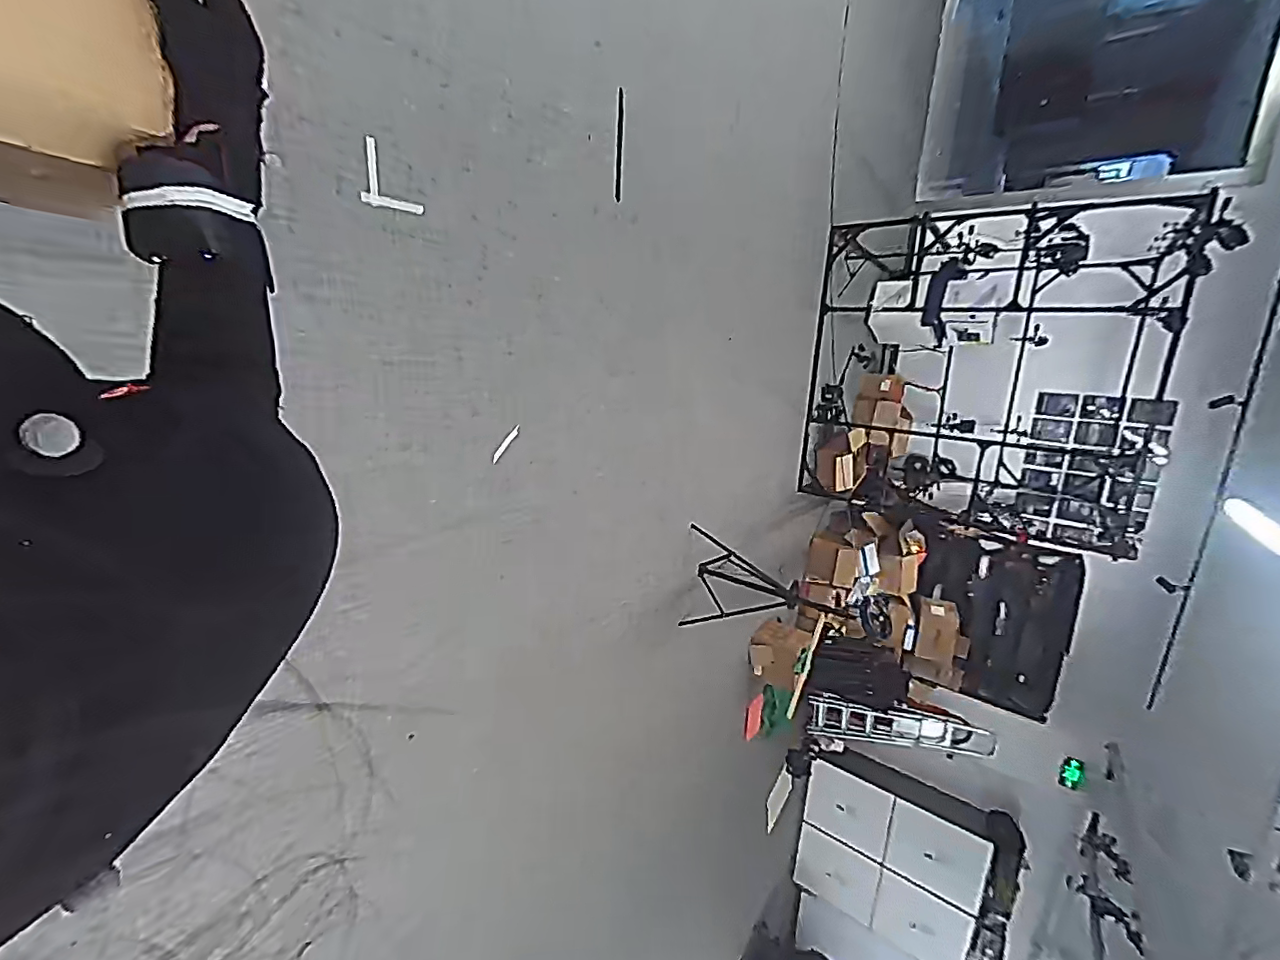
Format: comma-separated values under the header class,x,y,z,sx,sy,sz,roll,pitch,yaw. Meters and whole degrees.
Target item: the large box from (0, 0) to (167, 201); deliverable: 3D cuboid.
class,x,y,z,sx,sy,sz,roll,pitch,yaw
large box,-0.578,-0.391,0.301,0.408,0.320,0.320,-9,110,-55
